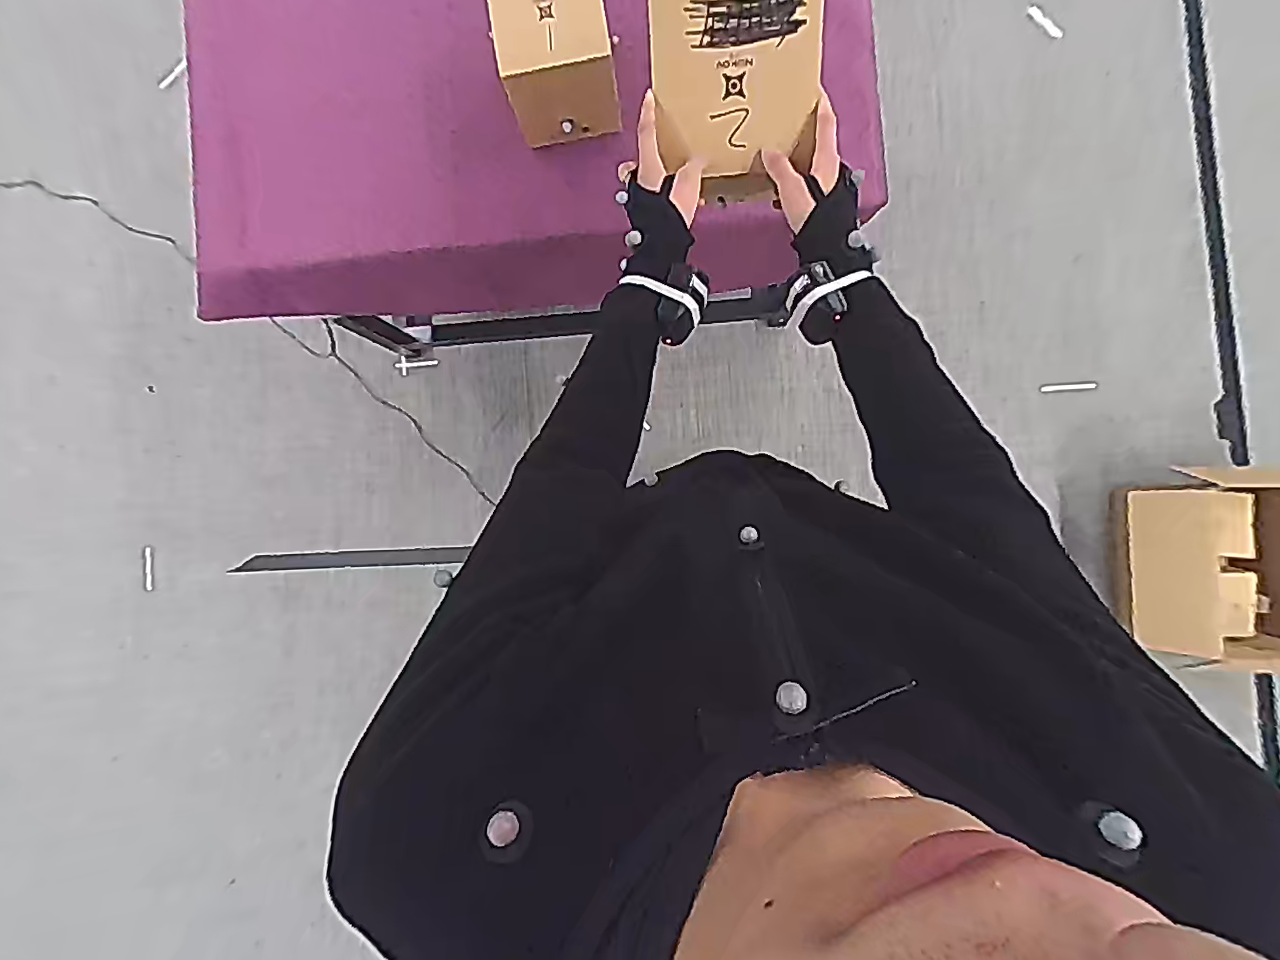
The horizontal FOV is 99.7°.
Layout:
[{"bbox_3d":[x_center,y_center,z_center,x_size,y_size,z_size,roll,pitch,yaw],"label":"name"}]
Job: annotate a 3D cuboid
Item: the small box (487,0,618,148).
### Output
[{"bbox_3d":[-0.133,-0.672,0.857,0.168,0.176,0.179,-9,89,3],"label":"small box"}]
